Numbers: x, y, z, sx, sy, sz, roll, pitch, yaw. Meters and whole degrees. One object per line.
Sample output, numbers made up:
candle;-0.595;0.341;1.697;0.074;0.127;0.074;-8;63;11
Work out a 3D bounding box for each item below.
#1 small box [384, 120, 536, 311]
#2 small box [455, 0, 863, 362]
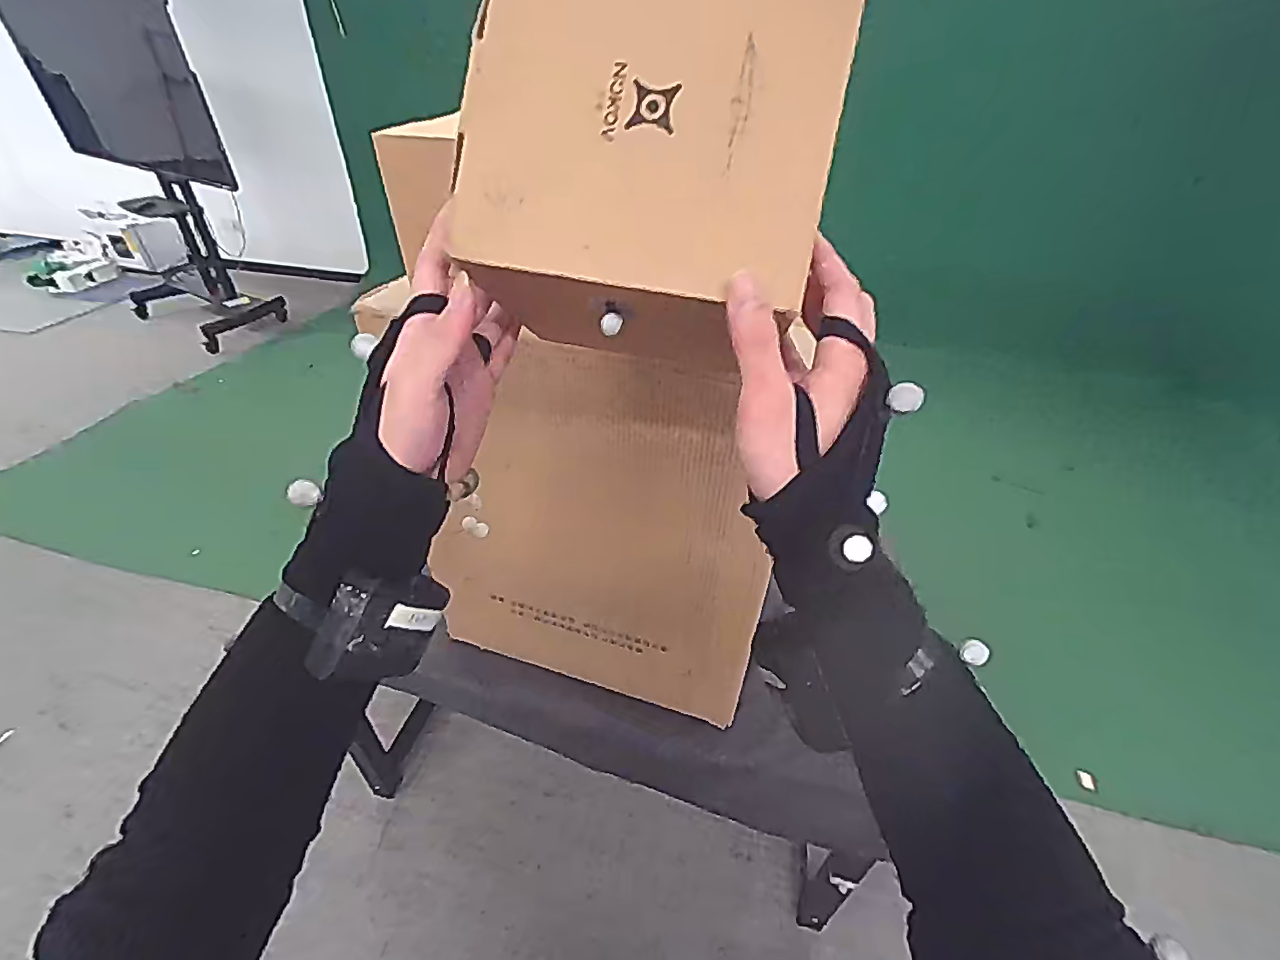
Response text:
small box;-0.167;-0.324;0.655;0.168;0.176;0.179;11;41;14
small box;0.016;-0.180;0.336;0.179;0.168;0.176;11;2;6
